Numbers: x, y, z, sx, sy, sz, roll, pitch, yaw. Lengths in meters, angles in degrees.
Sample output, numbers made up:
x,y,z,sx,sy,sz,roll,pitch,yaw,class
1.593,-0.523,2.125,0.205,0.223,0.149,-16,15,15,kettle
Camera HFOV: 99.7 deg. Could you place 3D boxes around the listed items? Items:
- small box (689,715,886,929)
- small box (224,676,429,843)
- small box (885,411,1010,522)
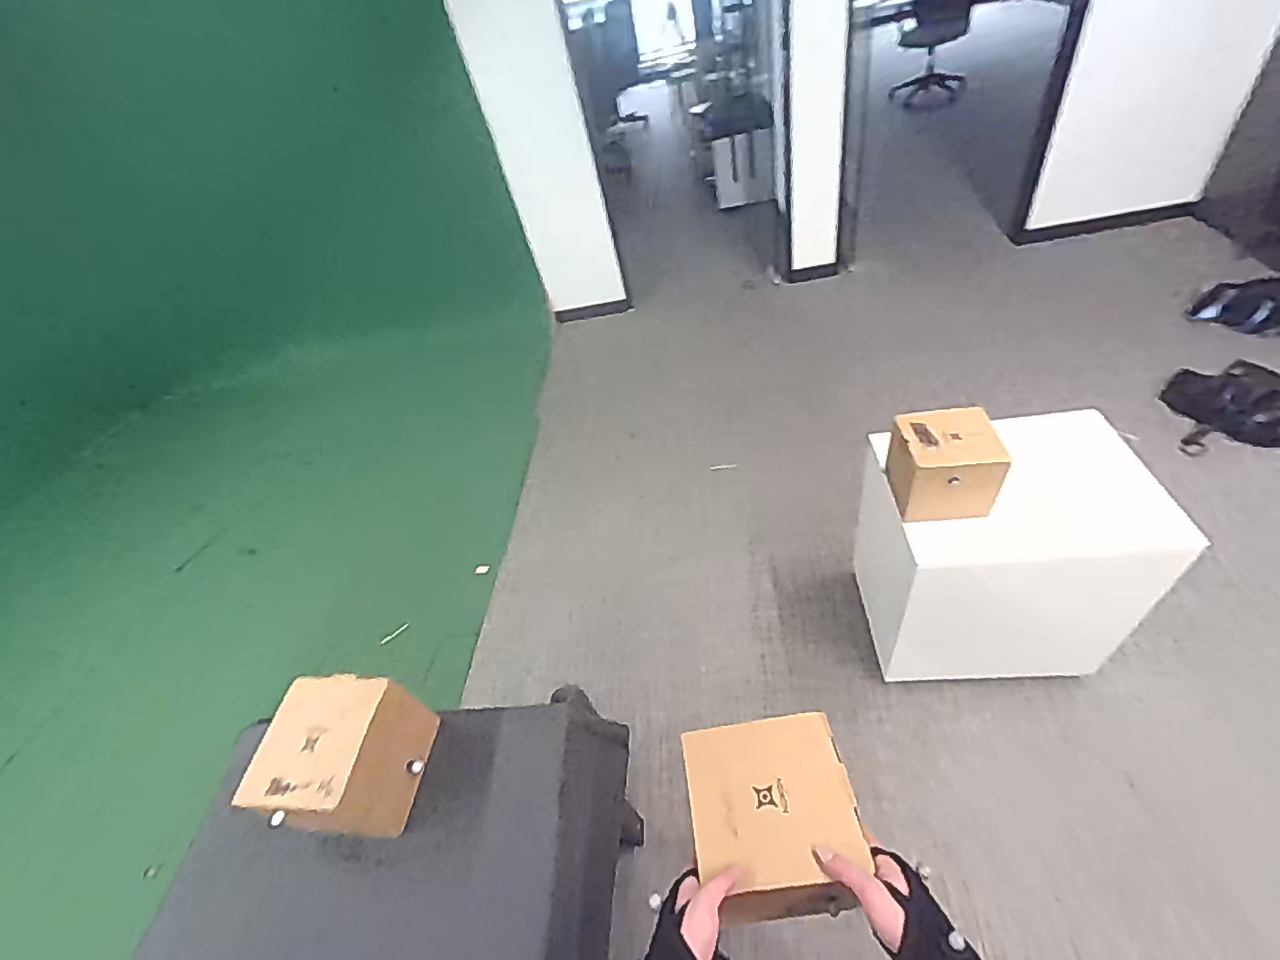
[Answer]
x,y,z,sx,sy,sz,roll,pitch,yaw,class
0.161,0.402,0.634,0.179,0.176,0.168,-11,41,4,small box
-0.440,0.411,0.799,0.168,0.176,0.179,-3,46,11,small box
0.631,-0.024,1.140,0.179,0.176,0.168,-4,46,8,small box
